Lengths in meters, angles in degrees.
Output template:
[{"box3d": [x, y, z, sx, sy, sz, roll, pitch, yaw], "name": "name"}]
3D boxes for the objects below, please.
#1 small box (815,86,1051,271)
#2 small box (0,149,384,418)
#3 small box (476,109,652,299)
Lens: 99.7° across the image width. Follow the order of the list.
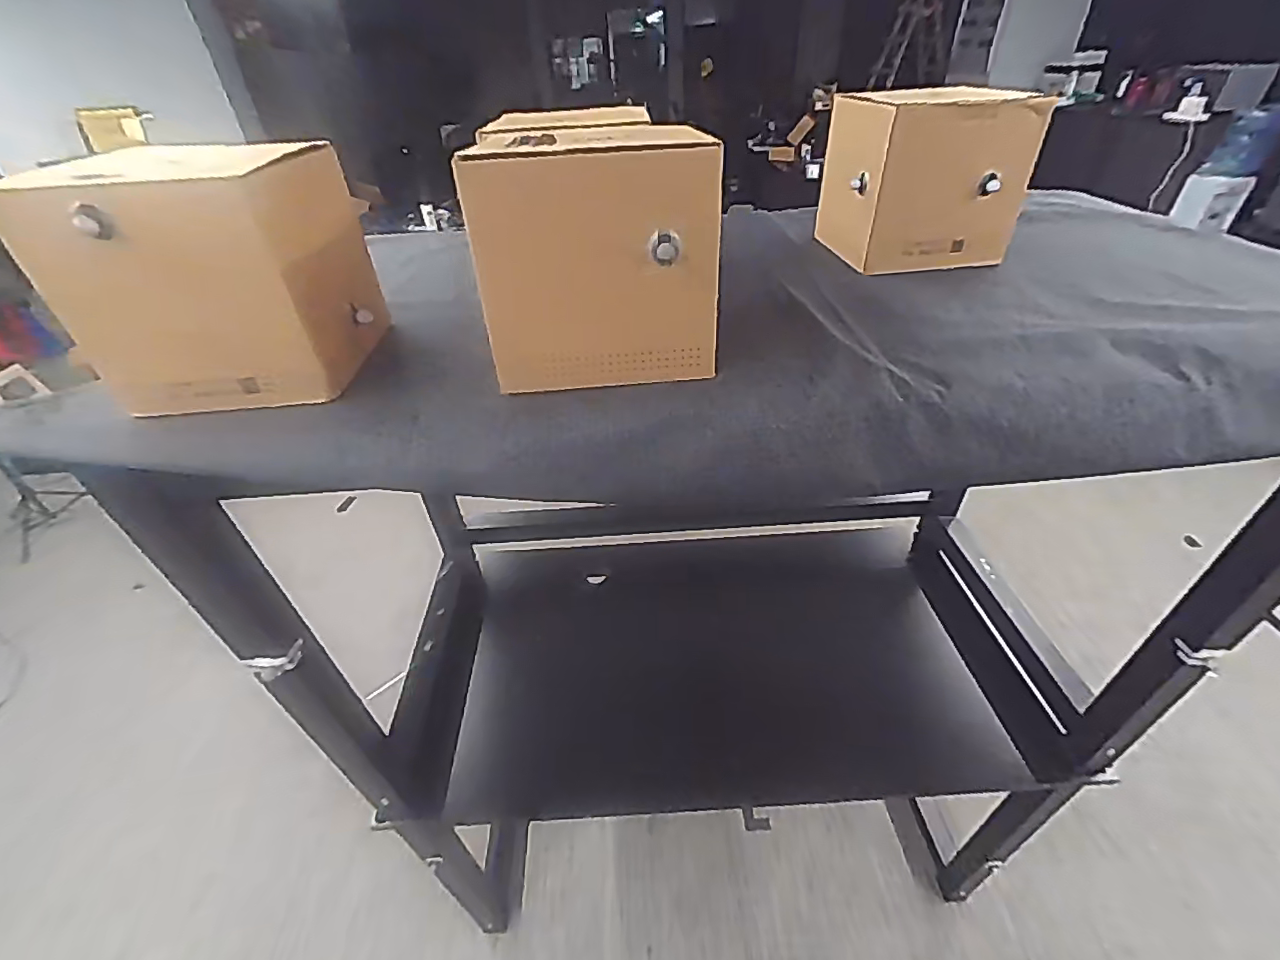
[{"box3d": [0.325, -0.357, 0.646, 0.168, 0.176, 0.179, -5, 39, -2], "name": "small box"}, {"box3d": [-0.340, -0.169, 0.456, 0.168, 0.176, 0.179, -6, 37, -2], "name": "small box"}, {"box3d": [-0.075, -0.329, 0.645, 0.179, 0.176, 0.168, -4, 39, 1], "name": "small box"}]
